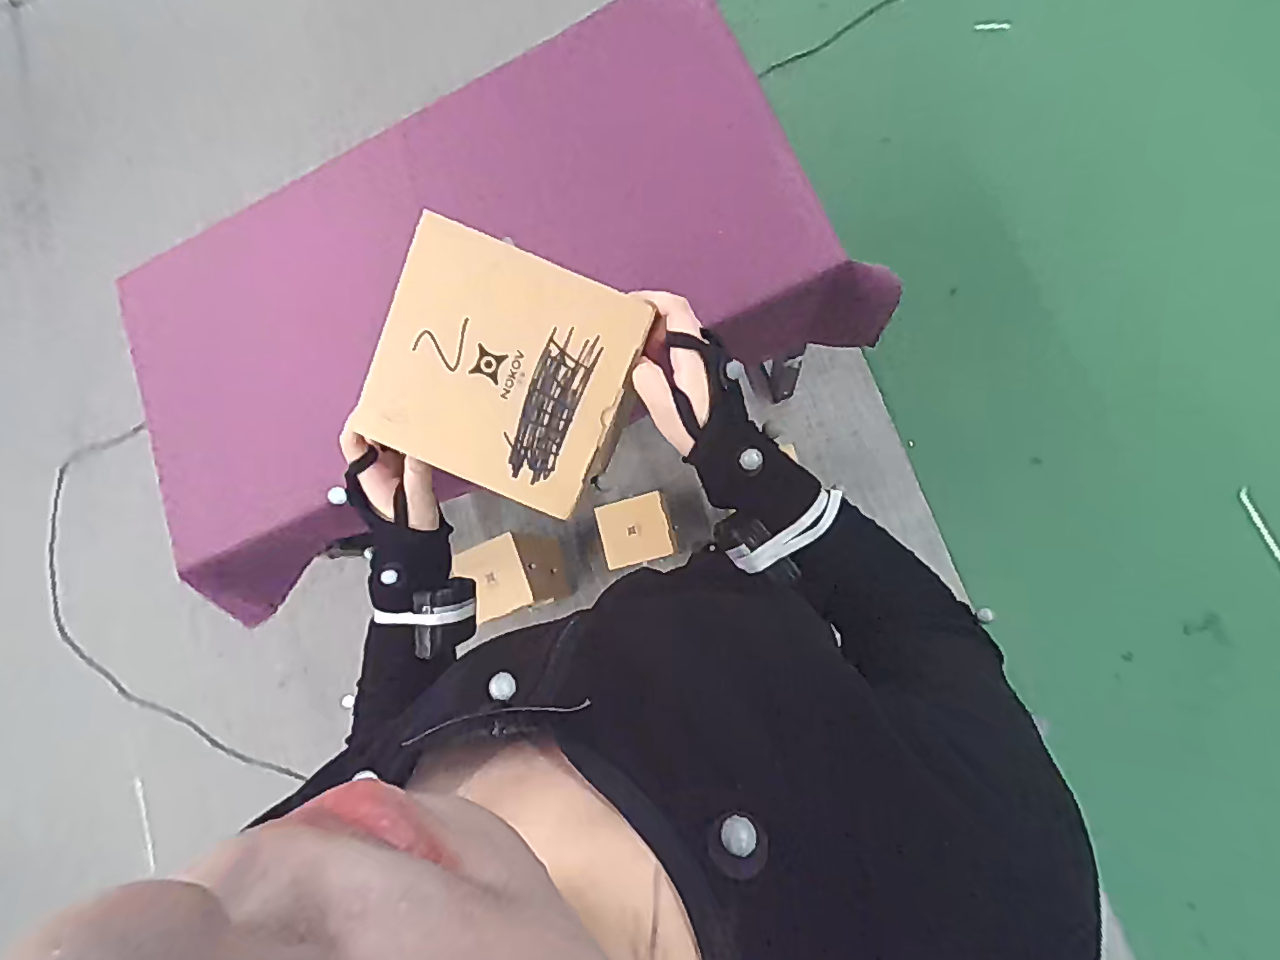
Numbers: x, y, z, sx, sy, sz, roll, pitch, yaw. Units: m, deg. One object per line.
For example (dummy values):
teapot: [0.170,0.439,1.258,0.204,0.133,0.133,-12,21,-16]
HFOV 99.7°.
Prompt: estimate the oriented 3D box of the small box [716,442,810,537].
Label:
small box: [0.276,0.027,1.237,0.168,0.176,0.179,-15,82,6]
